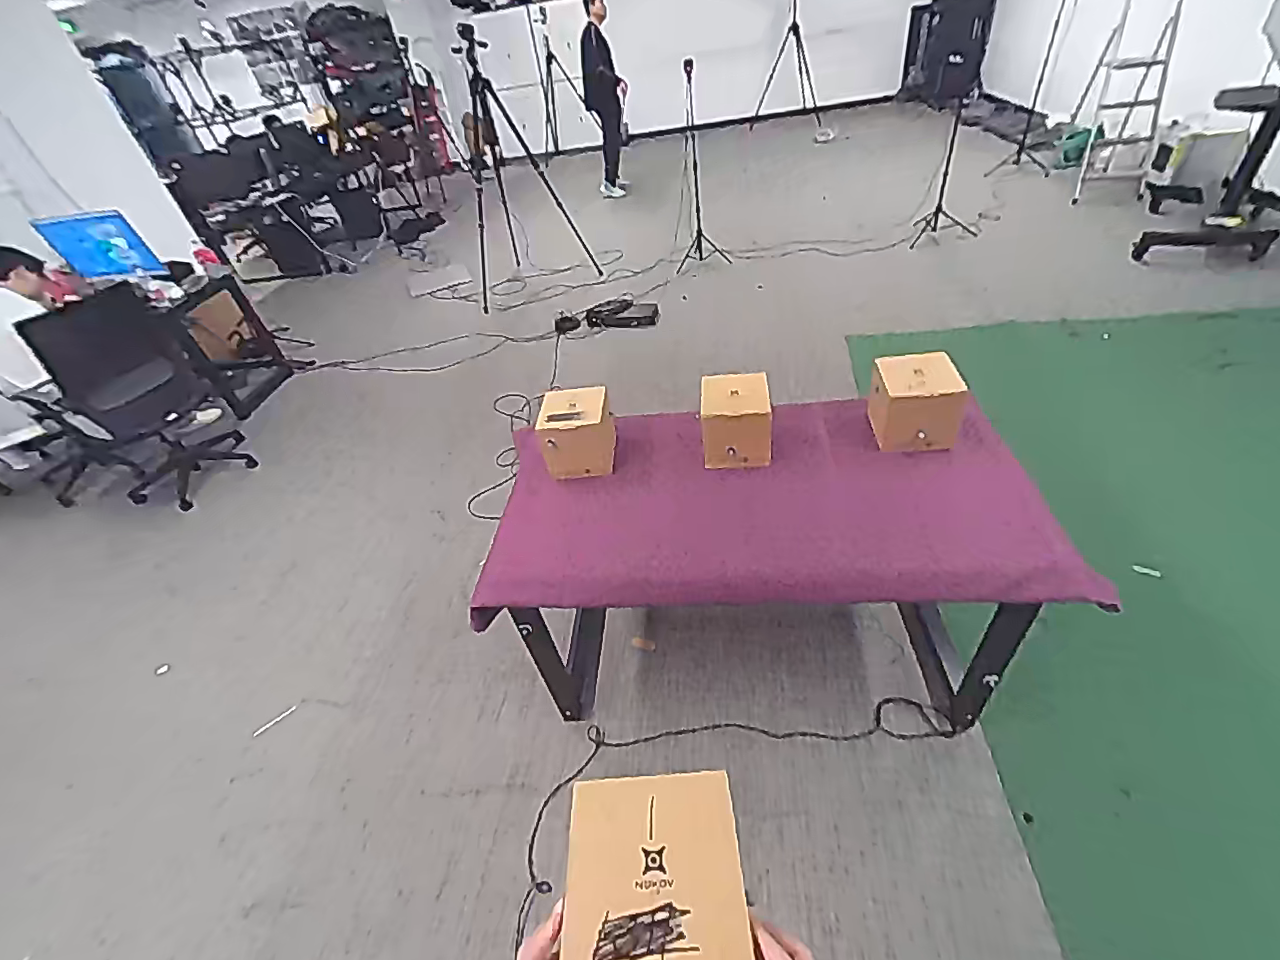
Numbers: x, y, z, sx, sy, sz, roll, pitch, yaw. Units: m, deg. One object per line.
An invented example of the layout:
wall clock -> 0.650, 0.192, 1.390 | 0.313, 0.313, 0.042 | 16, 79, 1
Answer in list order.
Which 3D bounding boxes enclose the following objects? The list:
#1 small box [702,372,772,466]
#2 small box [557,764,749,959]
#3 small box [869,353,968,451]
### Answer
small box -> 0.242, -0.154, 1.372 | 0.168, 0.176, 0.179 | -2, 43, 9
small box -> 0.019, 0.422, 0.549 | 0.168, 0.176, 0.179 | -6, 36, 3
small box -> 0.667, -0.188, 1.319 | 0.168, 0.176, 0.179 | -3, 42, 11
